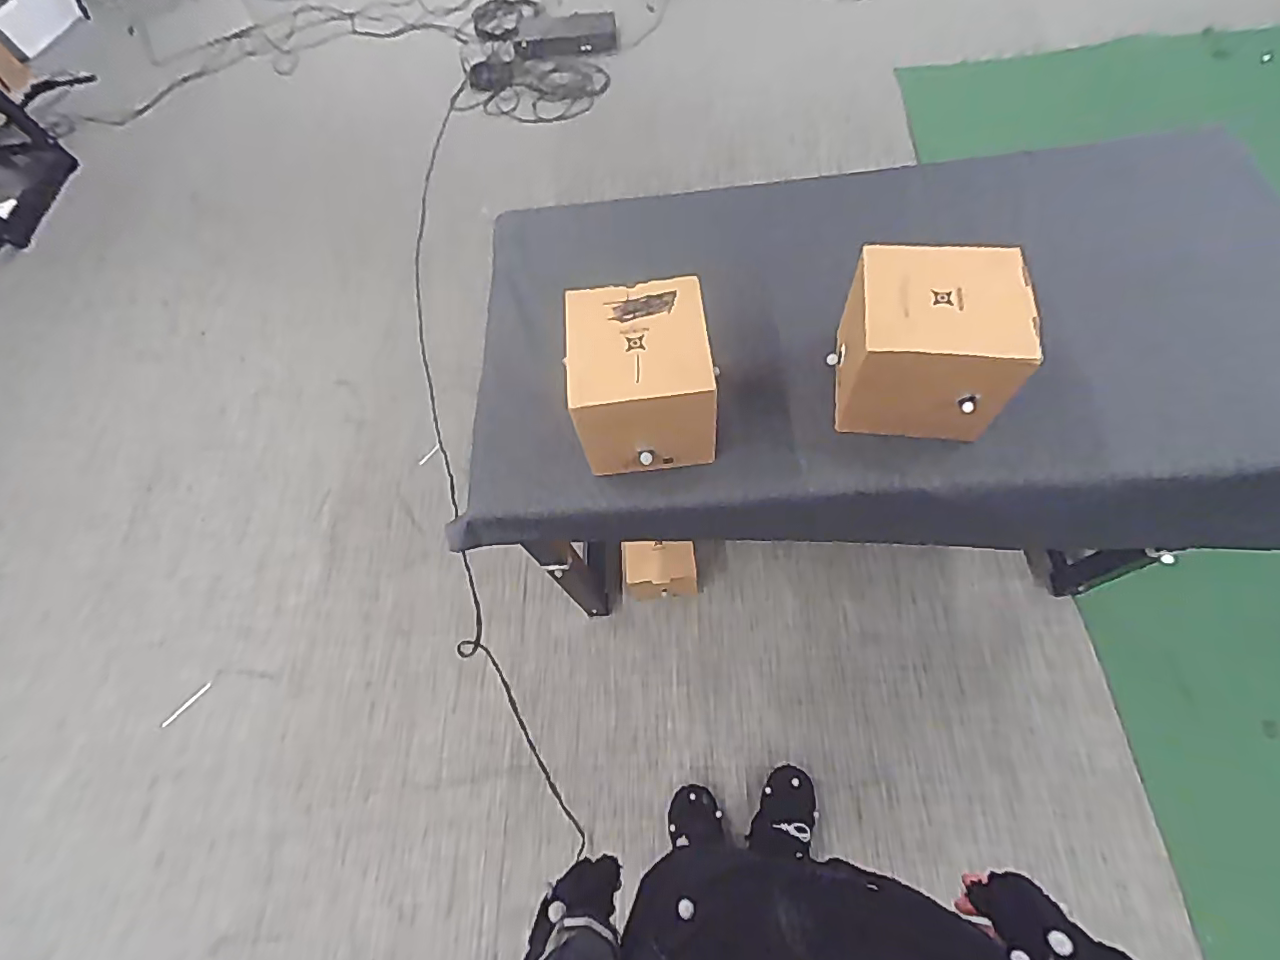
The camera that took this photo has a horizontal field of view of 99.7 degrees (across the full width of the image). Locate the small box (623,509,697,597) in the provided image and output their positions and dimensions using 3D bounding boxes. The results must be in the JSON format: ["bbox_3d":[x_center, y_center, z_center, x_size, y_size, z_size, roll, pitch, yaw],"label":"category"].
[{"bbox_3d":[0.052,0.190,1.356,0.168,0.176,0.179,-6,64,4],"label":"small box"}]

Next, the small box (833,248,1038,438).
[{"bbox_3d":[0.351,-0.165,0.681,0.179,0.176,0.168,4,63,10],"label":"small box"}]

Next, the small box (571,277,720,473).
[{"bbox_3d":[0.007,-0.128,0.698,0.168,0.176,0.179,-7,63,3],"label":"small box"}]
